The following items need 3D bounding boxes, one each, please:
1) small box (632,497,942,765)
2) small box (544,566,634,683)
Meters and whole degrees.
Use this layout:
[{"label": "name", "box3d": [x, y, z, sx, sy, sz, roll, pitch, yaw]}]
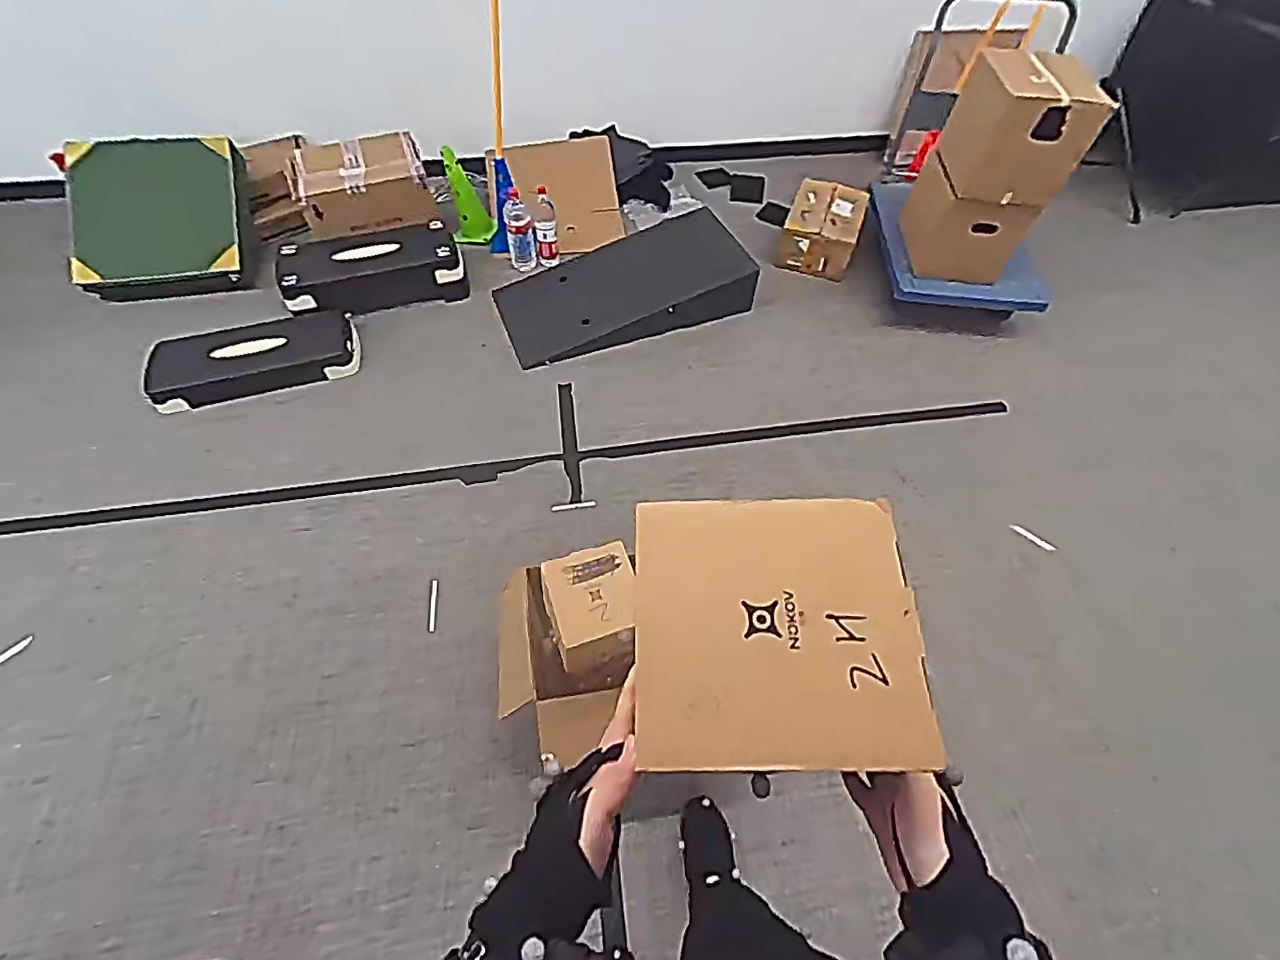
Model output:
[{"label": "small box", "box3d": [0.086, 0.122, 0.410, 0.179, 0.176, 0.168, -1, 64, 1]}, {"label": "small box", "box3d": [-0.099, 0.328, 1.216, 0.179, 0.176, 0.168, -23, 61, -20]}]
